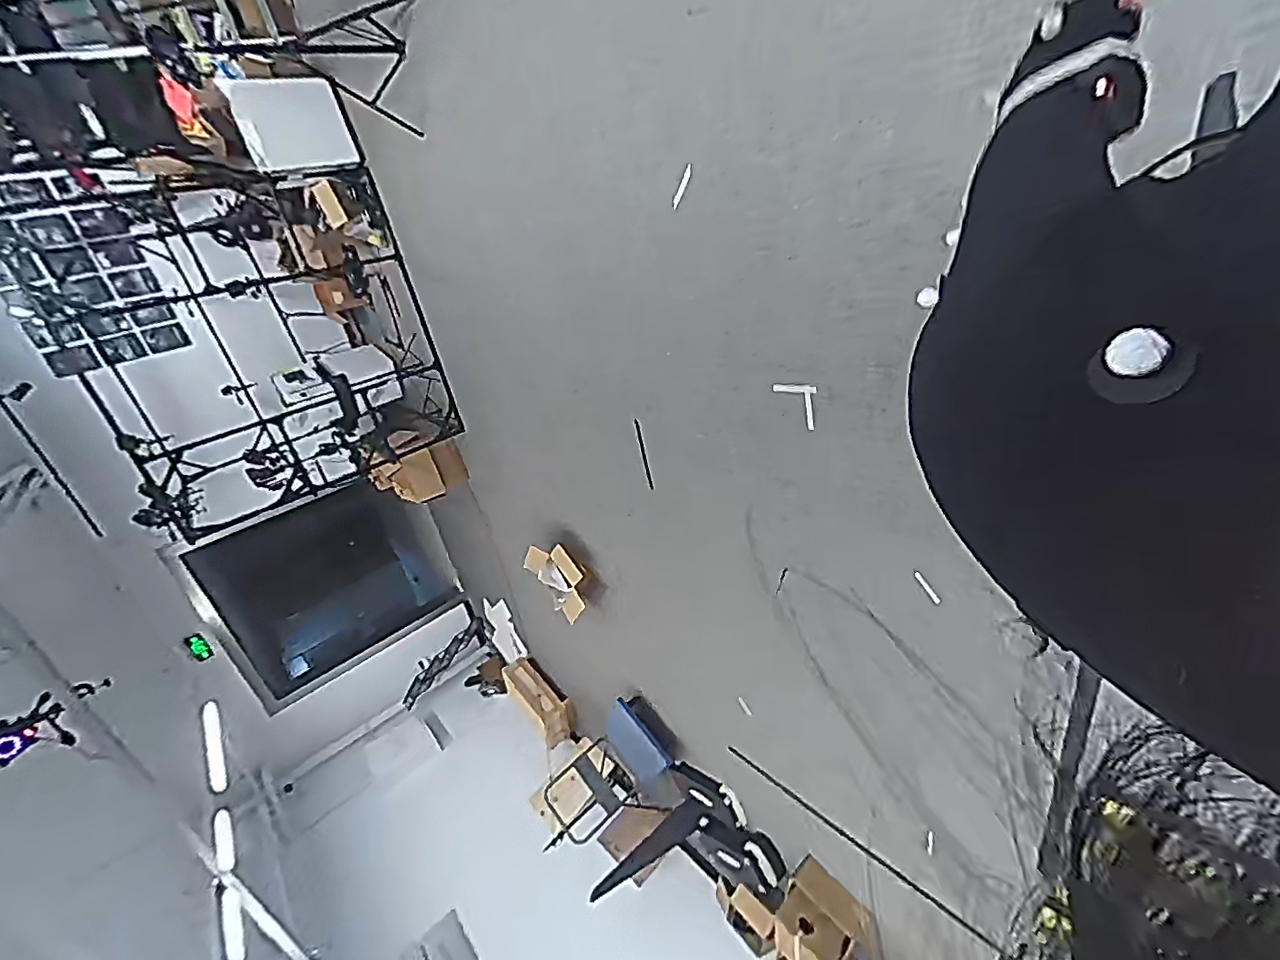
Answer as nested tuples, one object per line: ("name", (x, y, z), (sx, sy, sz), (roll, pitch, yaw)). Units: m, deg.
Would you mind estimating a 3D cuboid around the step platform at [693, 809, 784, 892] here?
("step platform", (0.659, 2.551, 3.738), (0.684, 0.204, 0.286), (-27, 92, 57))
